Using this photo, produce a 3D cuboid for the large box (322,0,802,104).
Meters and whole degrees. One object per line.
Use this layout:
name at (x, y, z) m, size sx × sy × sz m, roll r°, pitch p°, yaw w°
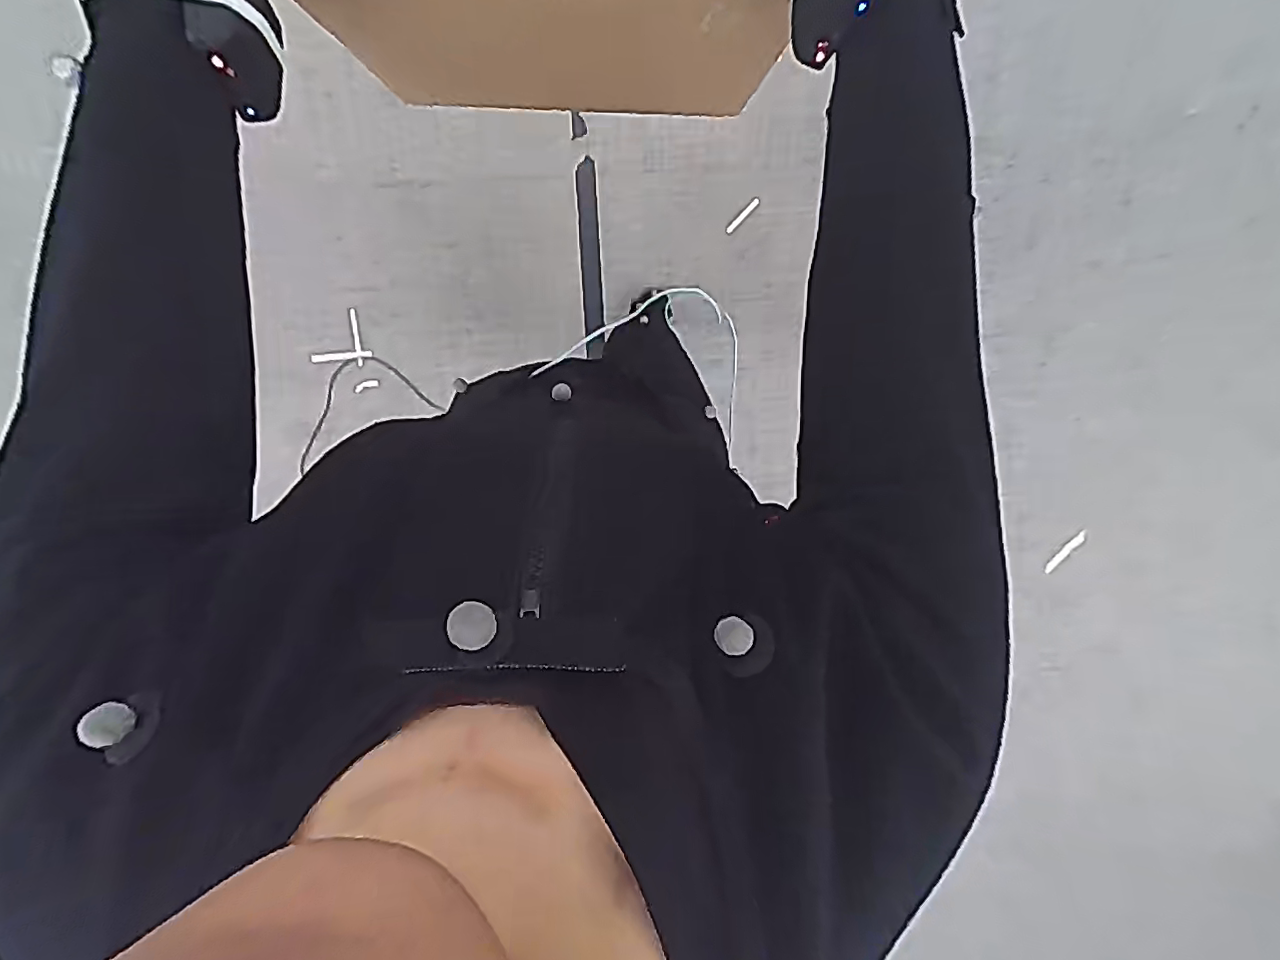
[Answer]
large box at (-0.069, -0.555, 0.467) m, size 0.408 × 0.320 × 0.320 m, roll 0°, pitch 110°, yaw -3°
